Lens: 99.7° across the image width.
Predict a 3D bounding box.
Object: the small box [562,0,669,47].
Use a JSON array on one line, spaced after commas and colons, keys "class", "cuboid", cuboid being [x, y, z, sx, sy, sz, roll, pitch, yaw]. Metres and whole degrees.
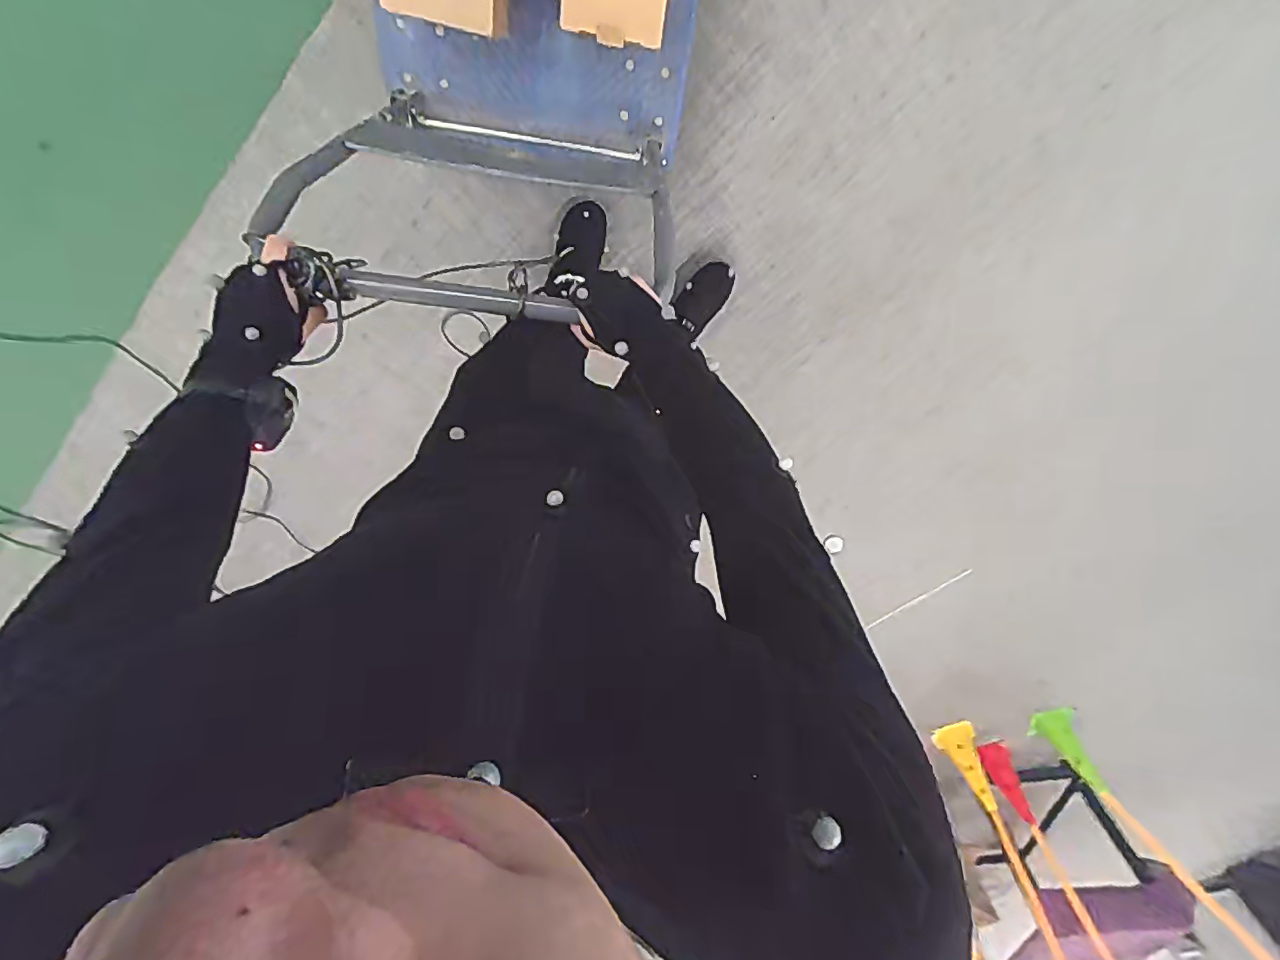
[{"class": "small box", "cuboid": [-0.033, -0.832, 0.876, 0.168, 0.176, 0.179, 6, 131, -6]}]
